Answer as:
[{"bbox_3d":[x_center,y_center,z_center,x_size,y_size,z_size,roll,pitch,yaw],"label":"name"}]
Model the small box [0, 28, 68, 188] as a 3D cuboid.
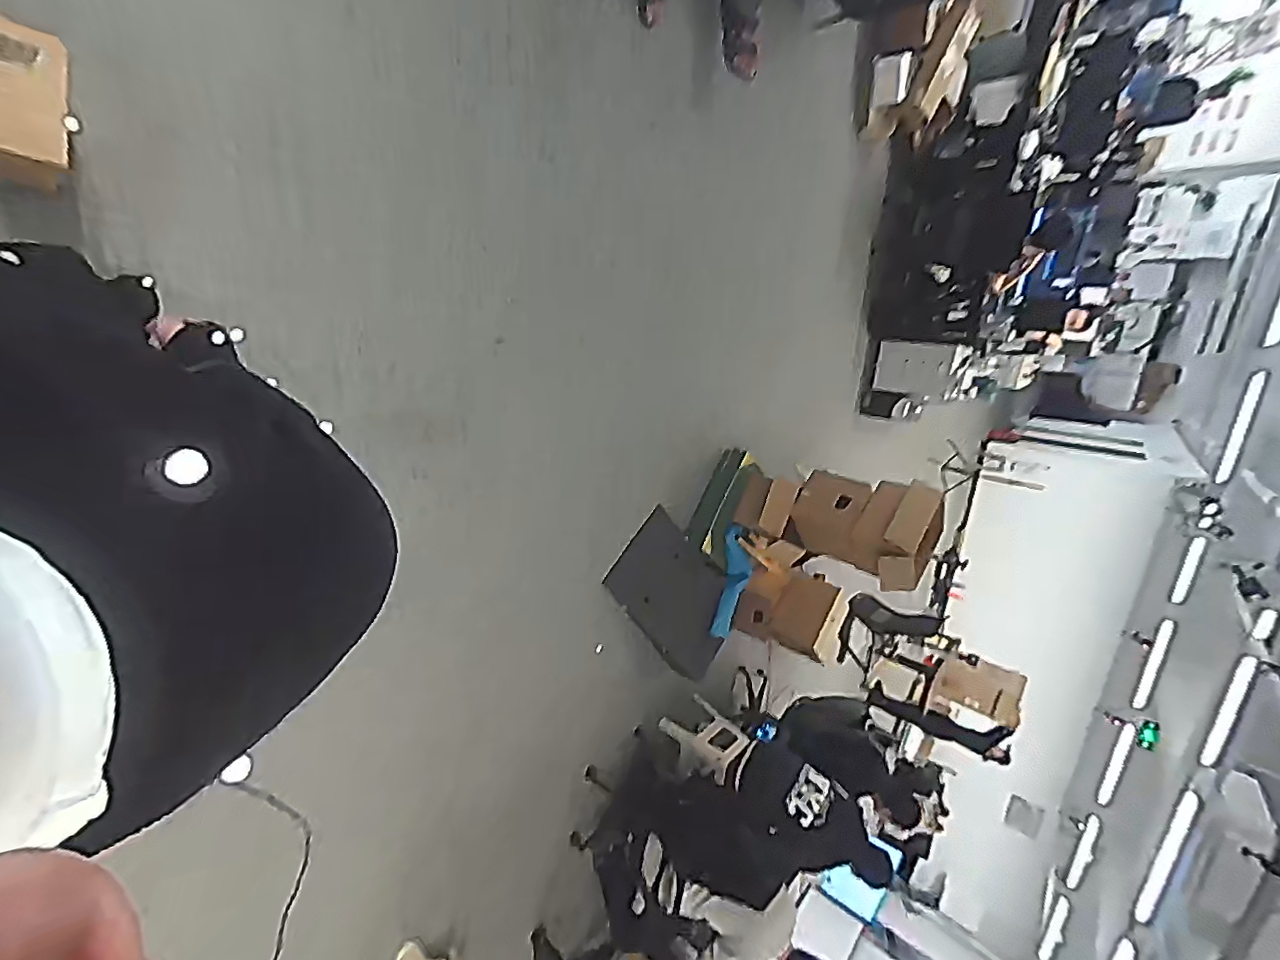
[{"bbox_3d":[-0.969,-0.557,0.793,0.168,0.176,0.179,-2,104,-51],"label":"small box"}]
